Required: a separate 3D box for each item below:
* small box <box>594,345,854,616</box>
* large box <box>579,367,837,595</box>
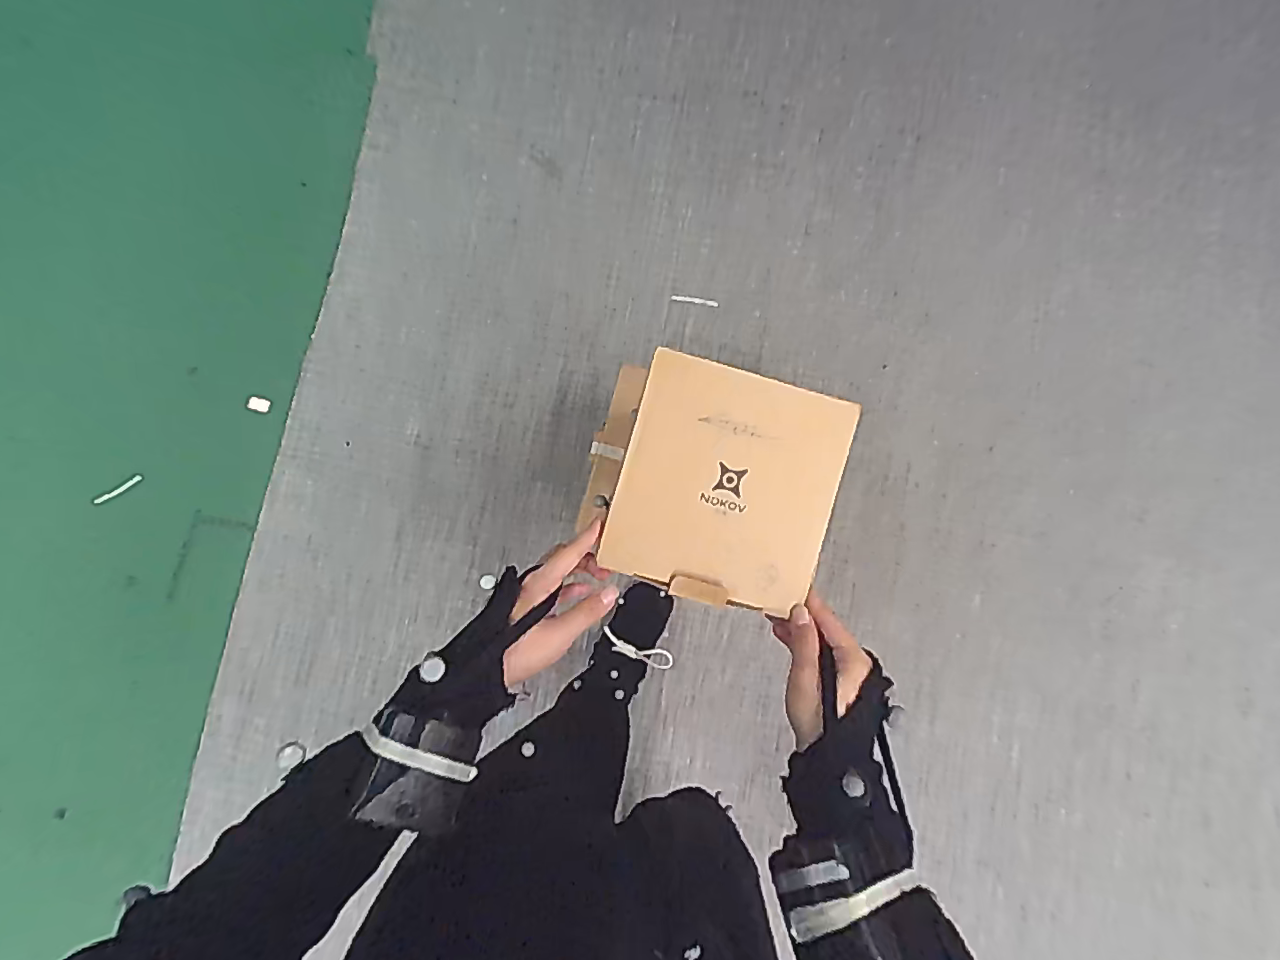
[{"bbox_3d":[0.063,0.001,0.494,0.168,0.176,0.179,15,89,-3],"label":"small box"},{"bbox_3d":[0.124,0.013,1.056,0.408,0.320,0.320,15,85,2],"label":"large box"}]
